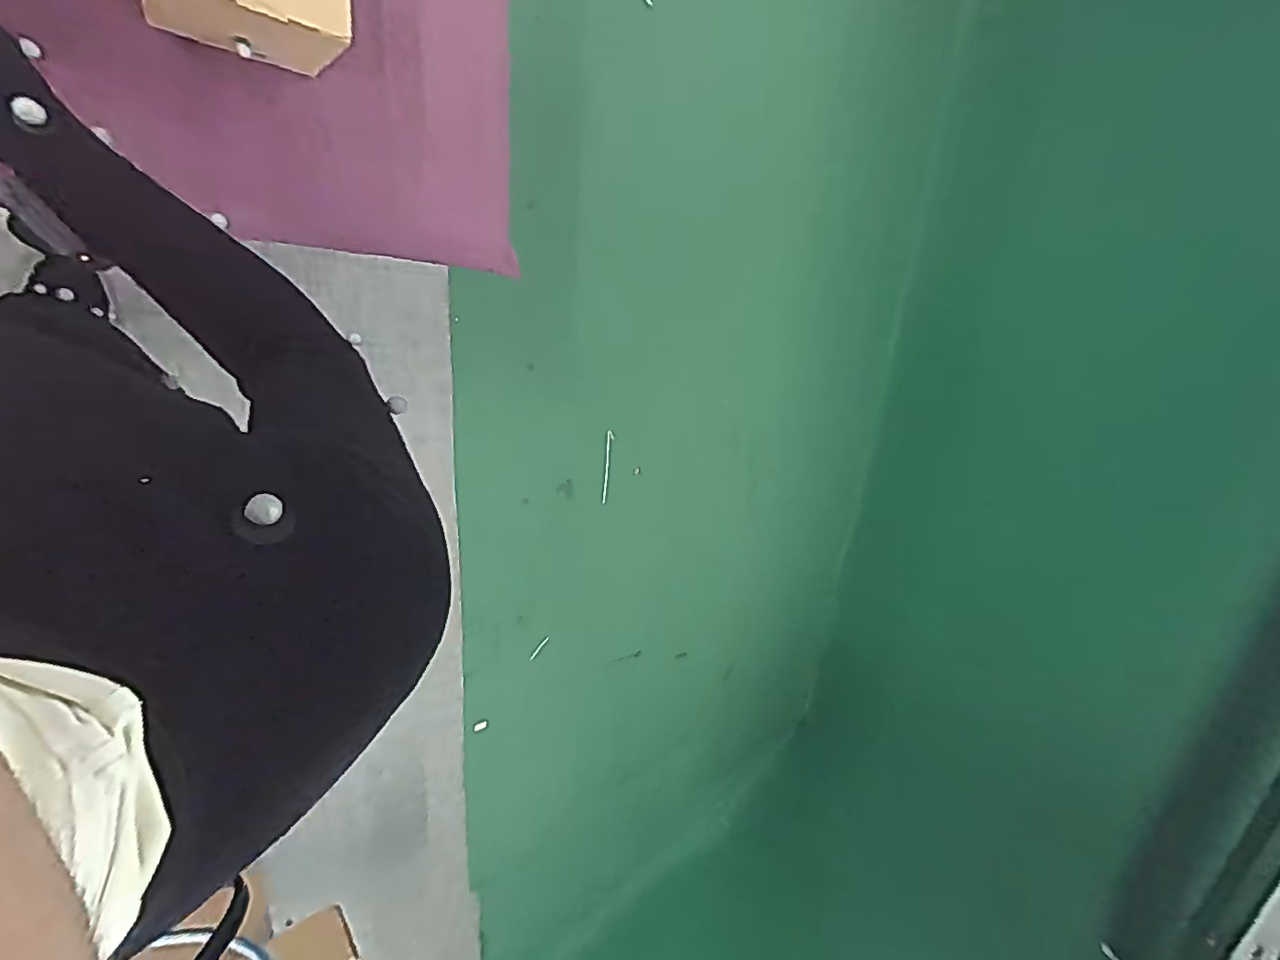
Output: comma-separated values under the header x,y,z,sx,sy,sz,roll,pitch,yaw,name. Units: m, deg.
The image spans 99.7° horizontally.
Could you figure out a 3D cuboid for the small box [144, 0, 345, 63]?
x,y,z,sx,sy,sz,roll,pitch,yaw,name
-0.423,-0.578,0.559,0.168,0.176,0.179,-10,115,-41,small box
